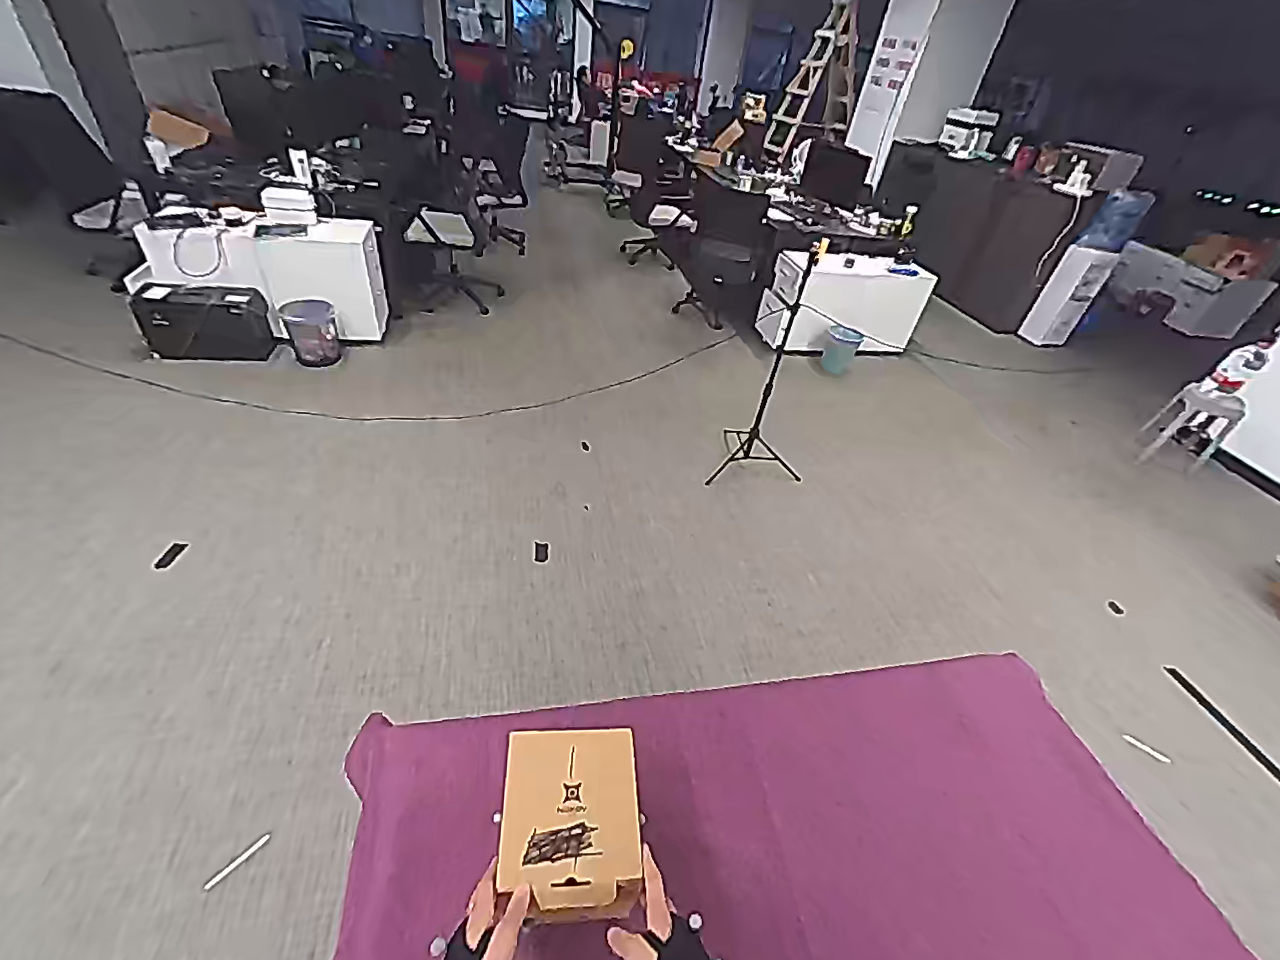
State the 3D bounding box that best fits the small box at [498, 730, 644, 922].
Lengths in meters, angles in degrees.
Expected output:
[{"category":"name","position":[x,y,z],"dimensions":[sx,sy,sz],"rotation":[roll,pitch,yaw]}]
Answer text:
[{"category":"small box","position":[-0.090,0.454,0.709],"dimensions":[0.168,0.176,0.179],"rotation":[2,40,-9]}]
